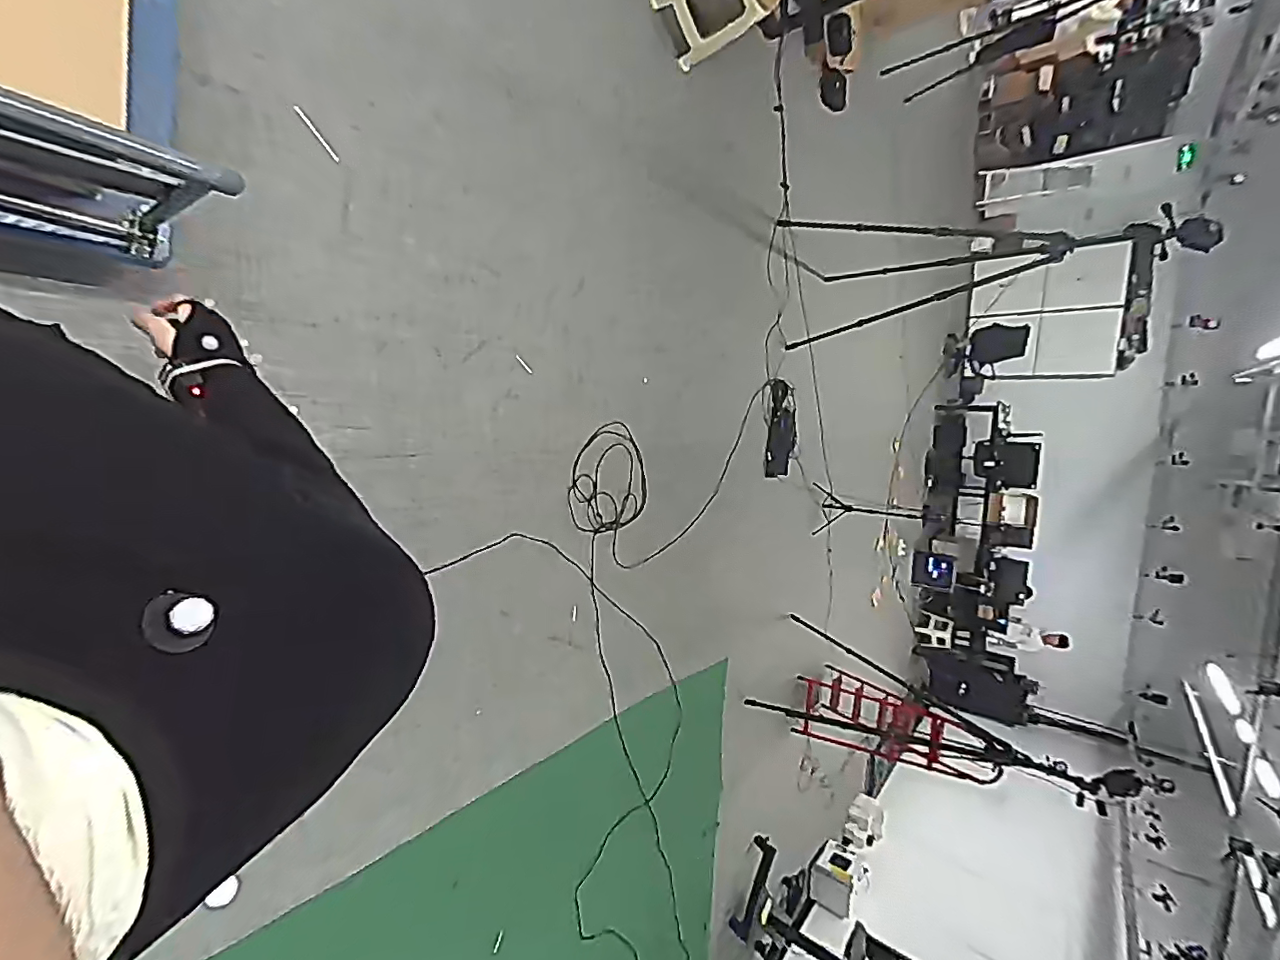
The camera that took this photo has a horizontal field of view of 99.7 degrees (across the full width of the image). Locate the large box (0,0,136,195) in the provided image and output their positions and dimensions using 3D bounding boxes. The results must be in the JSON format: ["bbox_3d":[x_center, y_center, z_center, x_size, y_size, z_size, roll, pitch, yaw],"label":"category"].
[{"bbox_3d":[-0.989,-0.717,0.806,0.320,0.320,0.408,-1,95,-51],"label":"large box"}]
